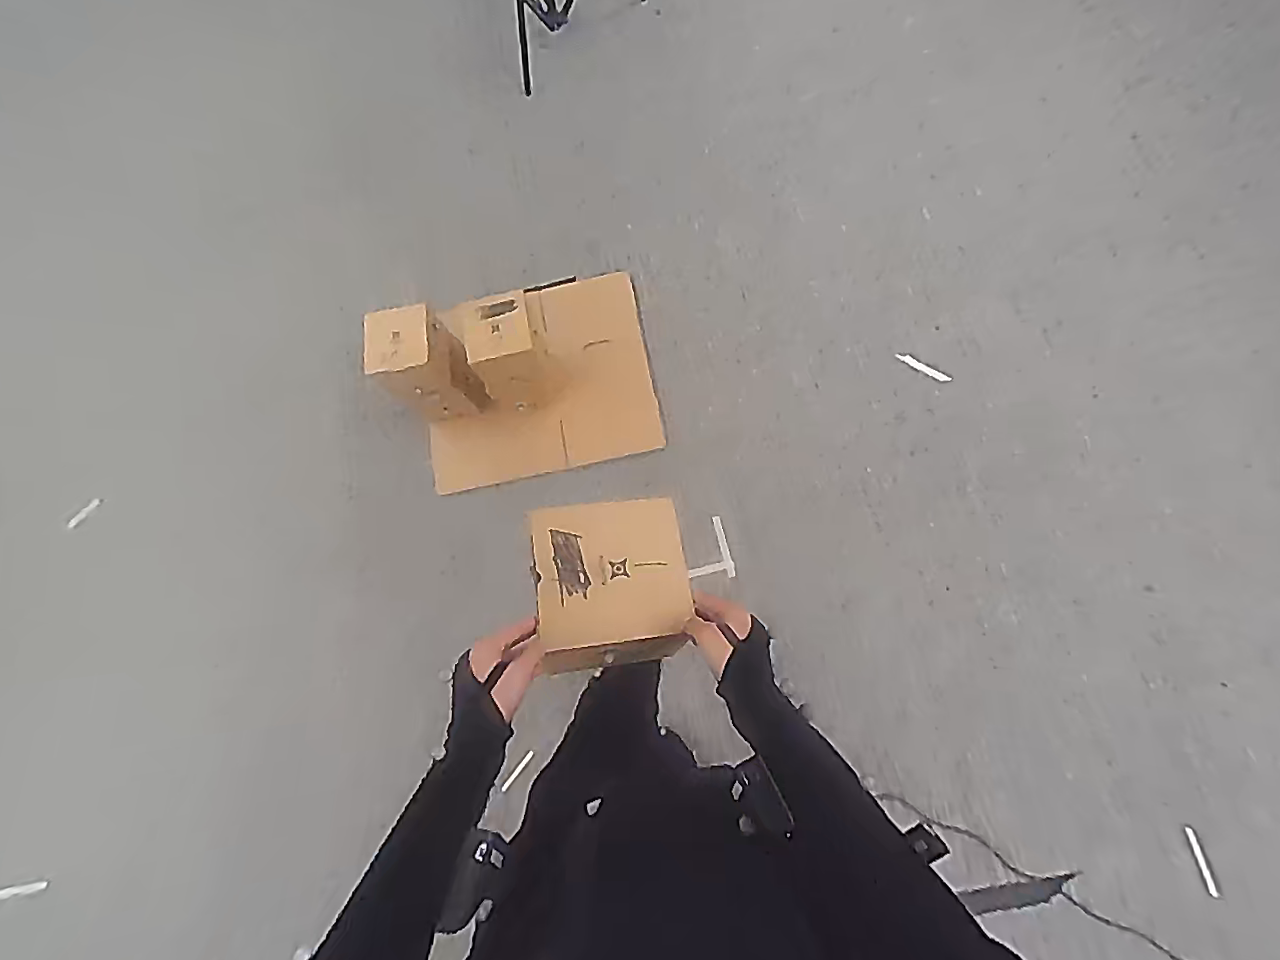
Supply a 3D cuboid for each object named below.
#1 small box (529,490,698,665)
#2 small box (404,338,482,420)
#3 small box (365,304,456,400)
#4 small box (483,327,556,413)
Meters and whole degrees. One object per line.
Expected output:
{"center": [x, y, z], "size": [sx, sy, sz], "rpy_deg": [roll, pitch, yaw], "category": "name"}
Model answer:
{"center": [-0.041, 0.127, 0.676], "size": [0.179, 0.176, 0.168], "rpy_deg": [-5, 64, -11], "category": "small box"}
{"center": [-0.575, -0.287, 1.583], "size": [0.168, 0.176, 0.179], "rpy_deg": [-10, 76, 3], "category": "small box"}
{"center": [-0.600, -0.333, 1.427], "size": [0.168, 0.176, 0.179], "rpy_deg": [-9, 75, 3], "category": "small box"}
{"center": [-0.347, -0.315, 1.571], "size": [0.168, 0.176, 0.179], "rpy_deg": [-9, 75, 3], "category": "small box"}
